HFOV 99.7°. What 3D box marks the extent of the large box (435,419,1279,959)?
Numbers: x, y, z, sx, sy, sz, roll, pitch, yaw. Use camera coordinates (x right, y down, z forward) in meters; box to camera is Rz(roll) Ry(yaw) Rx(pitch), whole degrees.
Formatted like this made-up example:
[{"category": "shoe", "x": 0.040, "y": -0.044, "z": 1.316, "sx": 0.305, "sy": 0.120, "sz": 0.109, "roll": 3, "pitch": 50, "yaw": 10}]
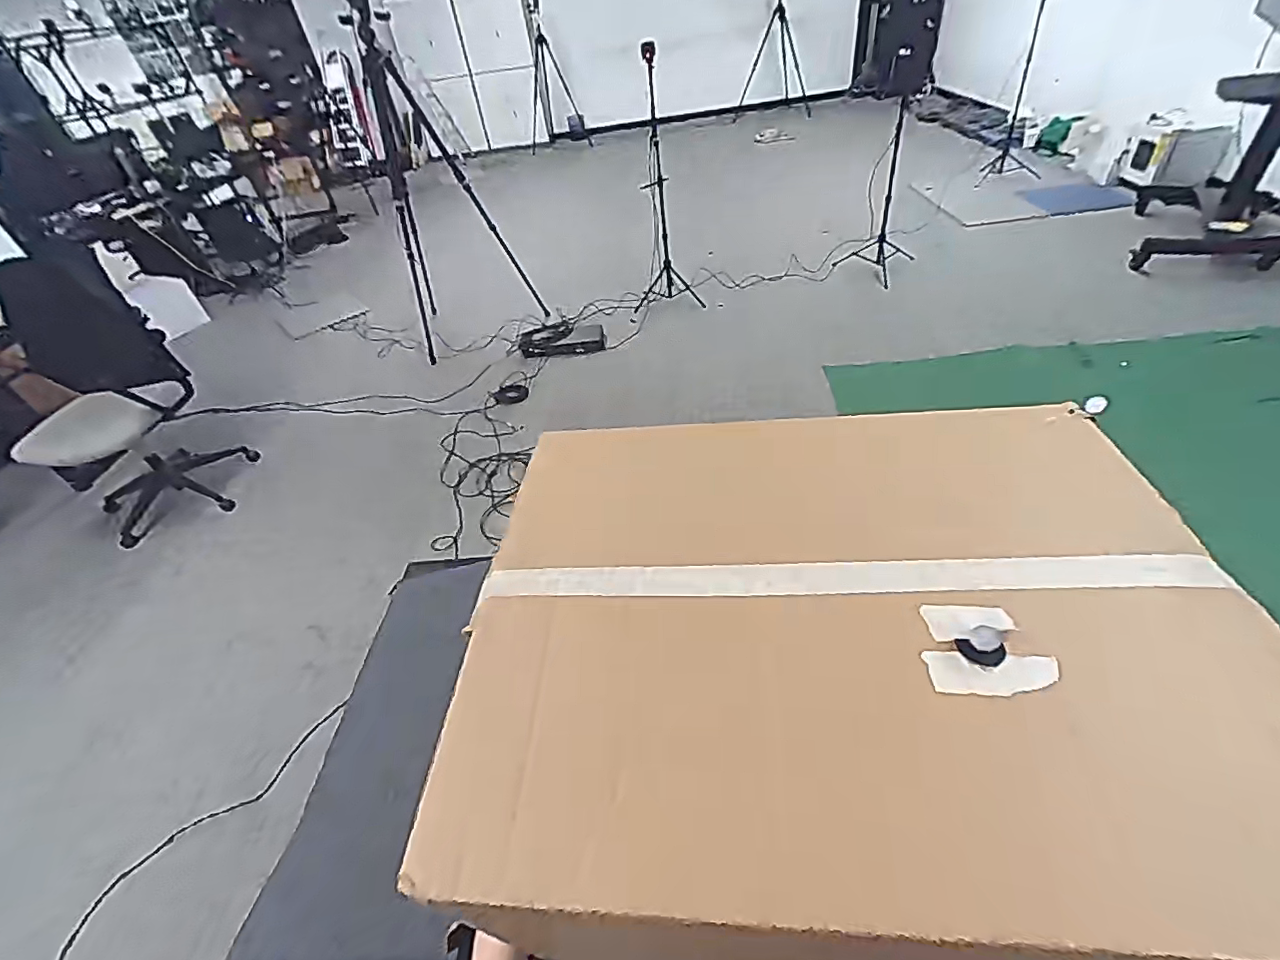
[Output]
[{"category": "large box", "x": 0.125, "y": 0.175, "z": 0.431, "sx": 0.408, "sy": 0.320, "sz": 0.320, "roll": -2, "pitch": 45, "yaw": 8}]
